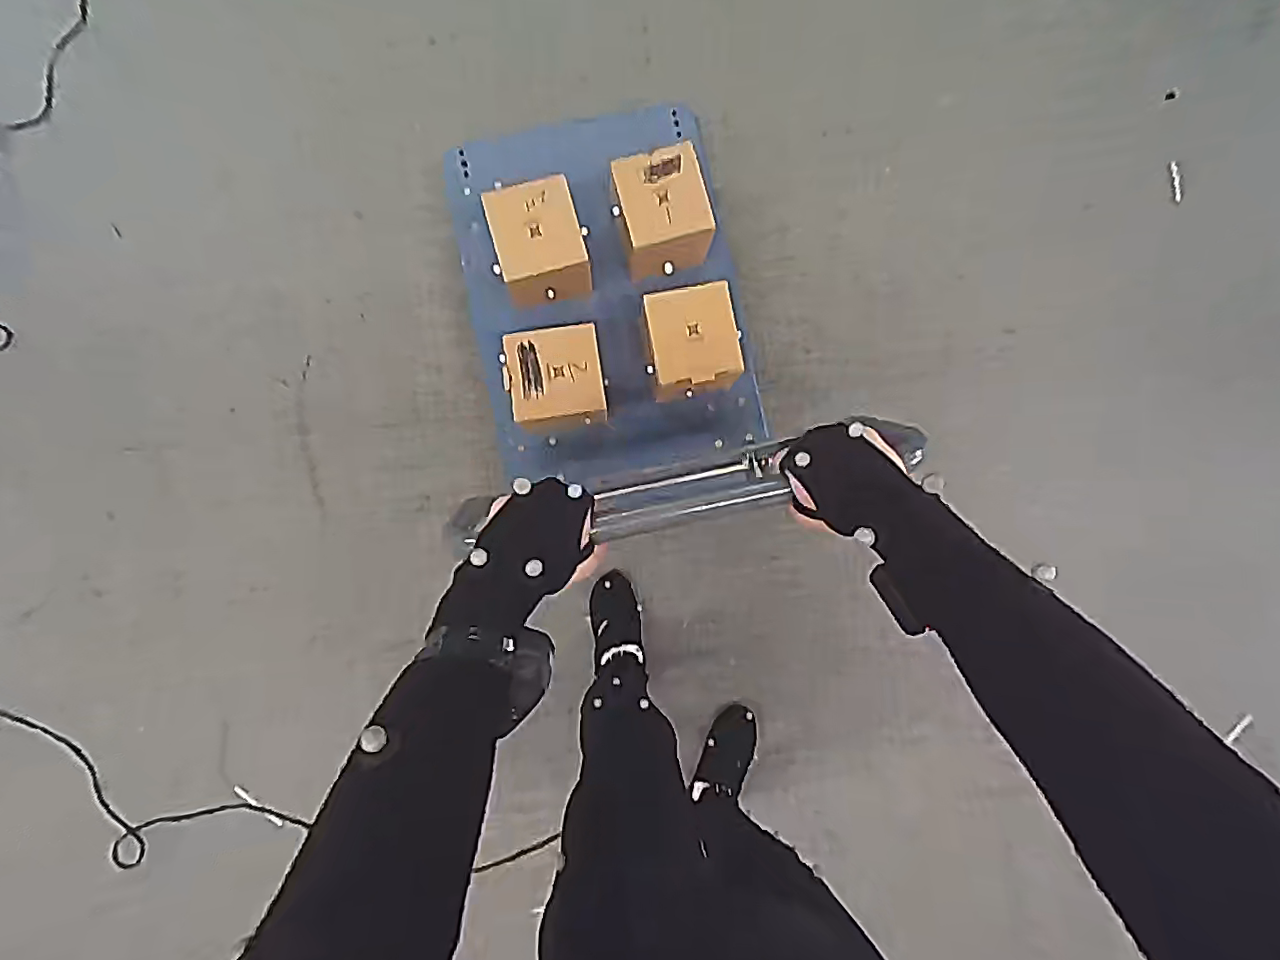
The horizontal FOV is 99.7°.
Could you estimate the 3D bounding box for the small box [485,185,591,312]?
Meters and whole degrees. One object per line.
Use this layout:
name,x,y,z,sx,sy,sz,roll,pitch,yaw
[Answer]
small box,-0.202,-0.465,1.119,0.168,0.176,0.179,-16,88,-3

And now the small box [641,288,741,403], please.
small box,0.097,-0.271,1.122,0.168,0.176,0.179,-11,88,-3

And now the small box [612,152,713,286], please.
small box,0.040,-0.535,1.130,0.168,0.176,0.179,-16,89,-2
